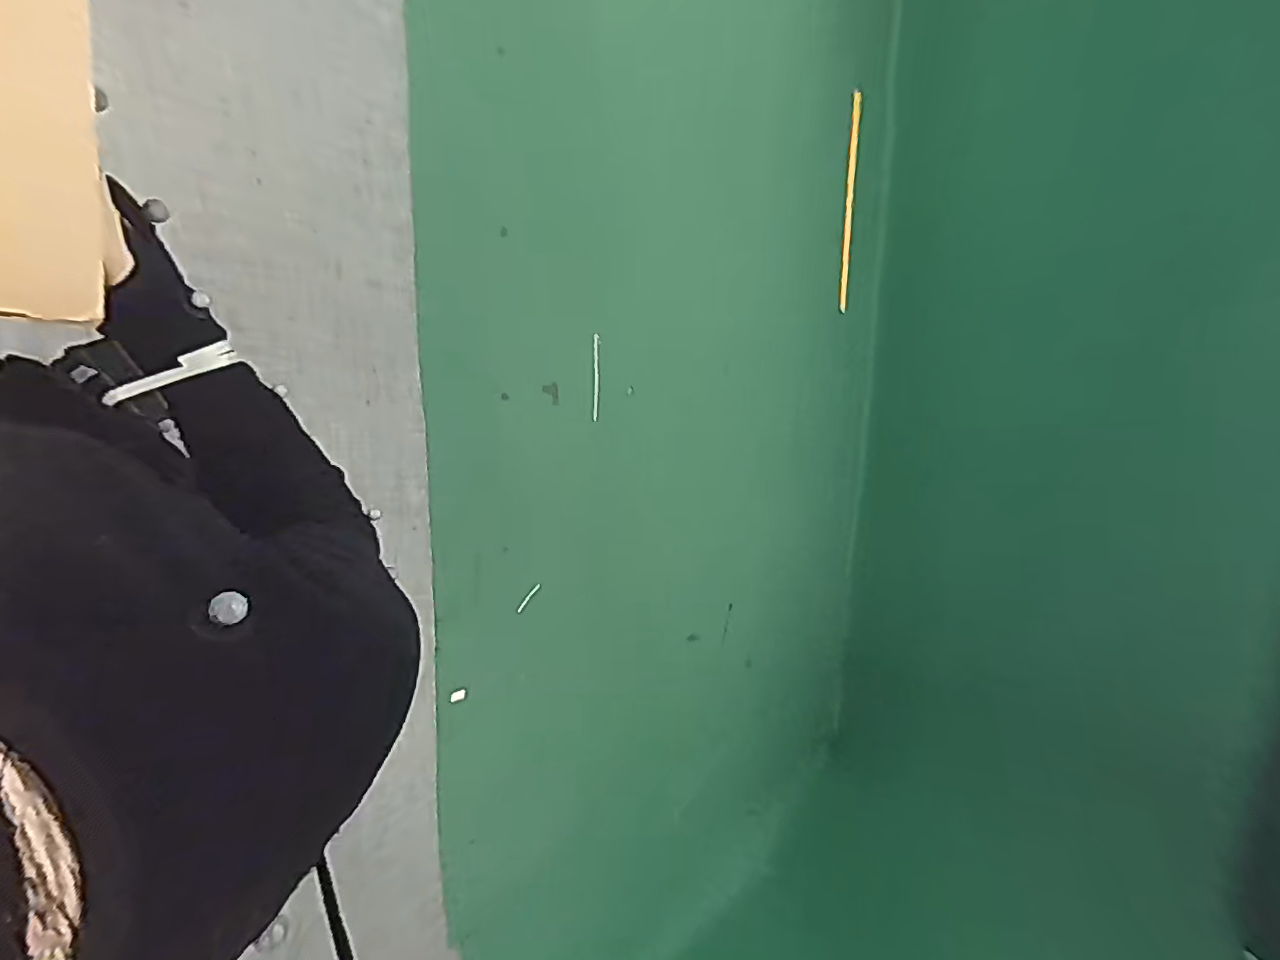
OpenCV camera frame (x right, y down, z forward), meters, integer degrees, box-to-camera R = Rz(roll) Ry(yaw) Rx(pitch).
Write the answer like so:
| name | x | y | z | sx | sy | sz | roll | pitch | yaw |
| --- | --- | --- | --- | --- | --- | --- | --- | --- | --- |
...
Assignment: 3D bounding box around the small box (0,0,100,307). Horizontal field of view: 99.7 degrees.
| name | x | y | z | sx | sy | sz | roll | pitch | yaw |
| --- | --- | --- | --- | --- | --- | --- | --- | --- | --- |
| small box | -0.398 | -0.192 | 0.251 | 0.168 | 0.176 | 0.179 | -13 | 117 | -61 |
